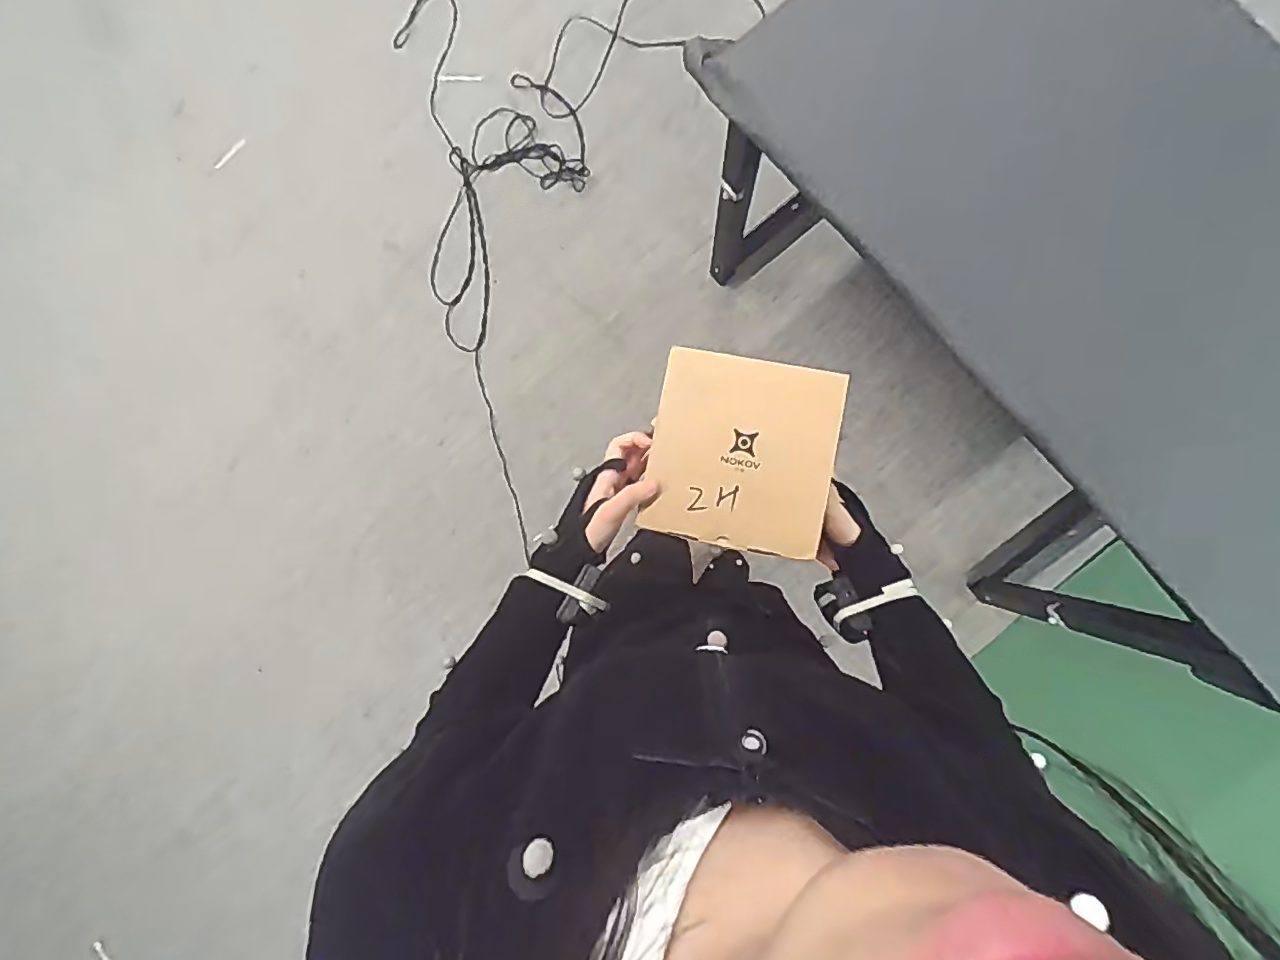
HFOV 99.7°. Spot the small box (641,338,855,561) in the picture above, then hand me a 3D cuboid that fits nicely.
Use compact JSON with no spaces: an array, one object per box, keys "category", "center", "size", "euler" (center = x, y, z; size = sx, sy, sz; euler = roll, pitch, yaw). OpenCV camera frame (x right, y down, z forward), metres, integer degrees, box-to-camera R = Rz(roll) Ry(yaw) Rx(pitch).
[{"category":"small box","center":[0.101,-0.022,0.559],"size":[0.168,0.176,0.179],"euler":[11,86,6]}]
